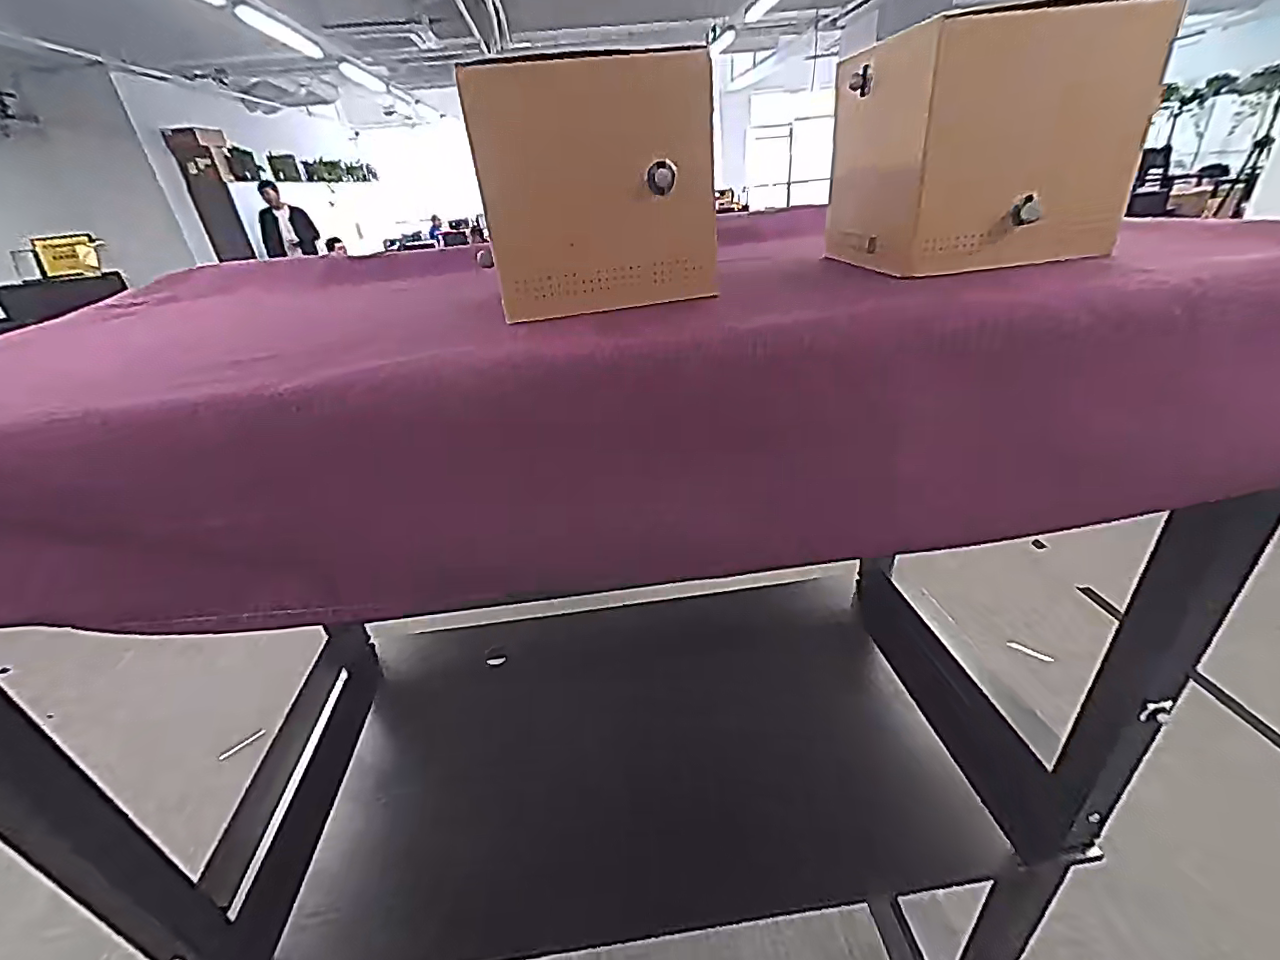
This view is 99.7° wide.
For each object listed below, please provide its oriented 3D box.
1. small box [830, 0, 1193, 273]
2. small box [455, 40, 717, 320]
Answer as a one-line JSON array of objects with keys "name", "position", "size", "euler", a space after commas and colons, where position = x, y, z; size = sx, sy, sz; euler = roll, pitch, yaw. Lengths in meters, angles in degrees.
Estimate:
[{"name": "small box", "position": [0.280, -0.282, 0.459], "size": [0.179, 0.176, 0.168], "euler": [-7, 28, -3]}, {"name": "small box", "position": [-0.042, -0.245, 0.460], "size": [0.179, 0.176, 0.168], "euler": [-11, 29, -8]}]
